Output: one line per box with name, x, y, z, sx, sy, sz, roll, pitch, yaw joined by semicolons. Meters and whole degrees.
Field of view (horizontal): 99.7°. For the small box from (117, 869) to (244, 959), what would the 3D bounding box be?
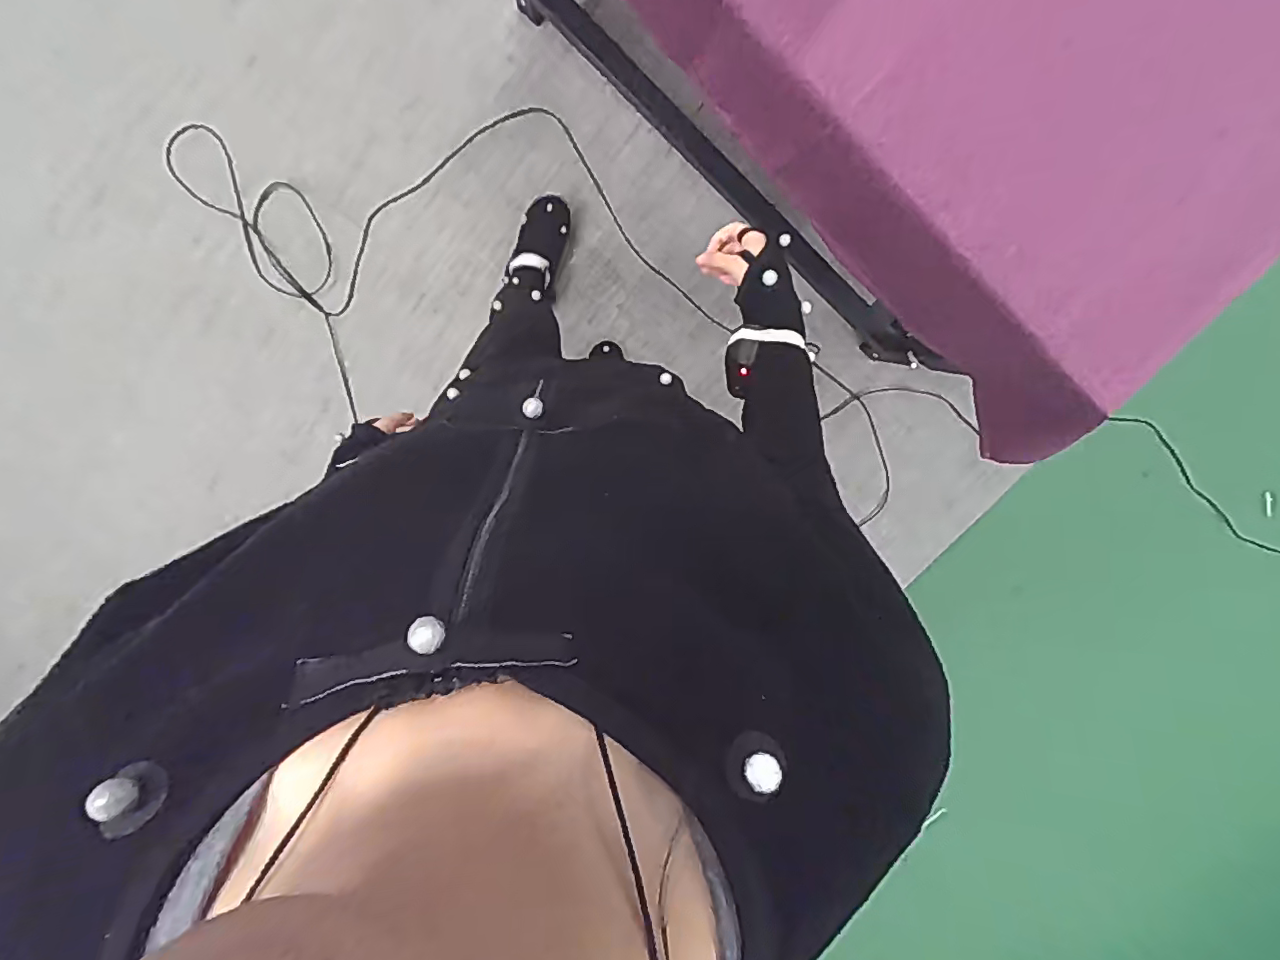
small box;-1.285;1.259;1.530;0.168;0.176;0.179;-37;106;7
